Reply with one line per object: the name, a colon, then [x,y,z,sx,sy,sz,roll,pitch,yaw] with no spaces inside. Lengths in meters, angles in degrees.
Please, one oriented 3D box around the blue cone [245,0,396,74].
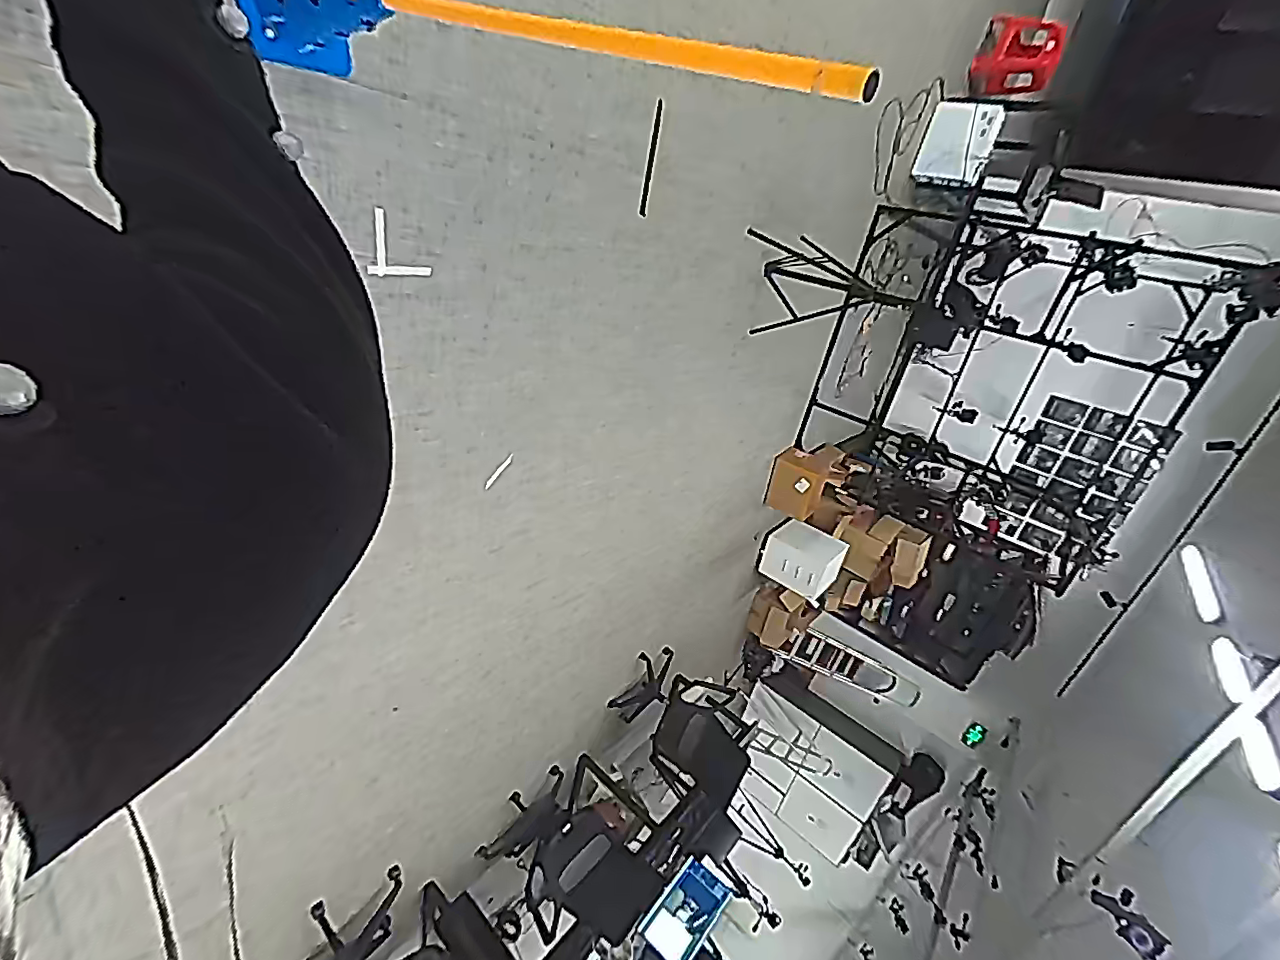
blue cone: [-0.548,-0.858,0.973,0.193,0.380,0.192,-24,132,-46]
